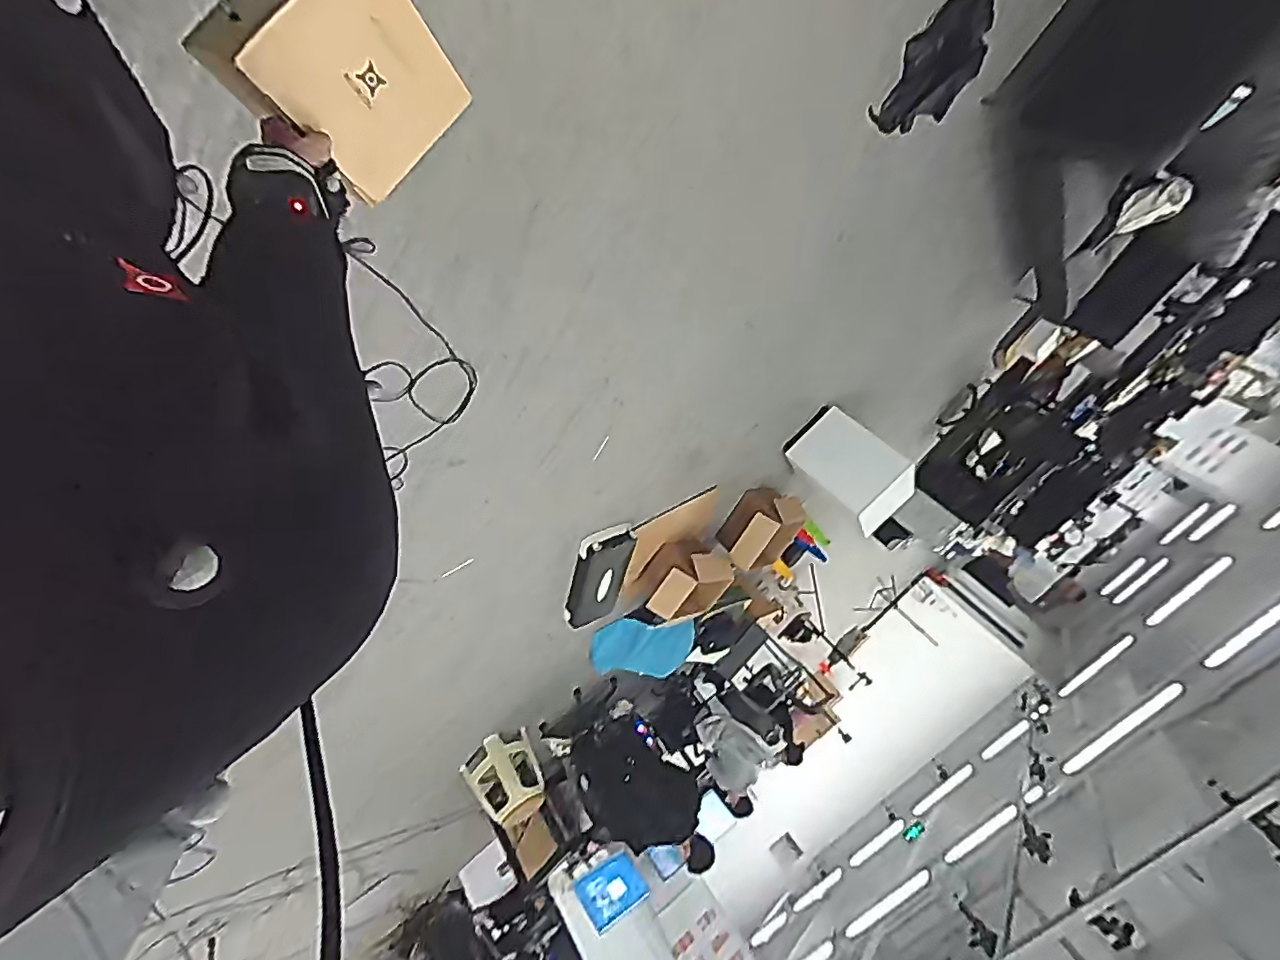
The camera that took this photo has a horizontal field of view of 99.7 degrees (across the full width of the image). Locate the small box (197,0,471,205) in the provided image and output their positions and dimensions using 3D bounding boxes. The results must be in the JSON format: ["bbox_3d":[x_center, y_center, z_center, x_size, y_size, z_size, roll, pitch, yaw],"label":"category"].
[{"bbox_3d":[-0.329,-0.442,0.583,0.179,0.176,0.168,-53,151,-5],"label":"small box"}]
